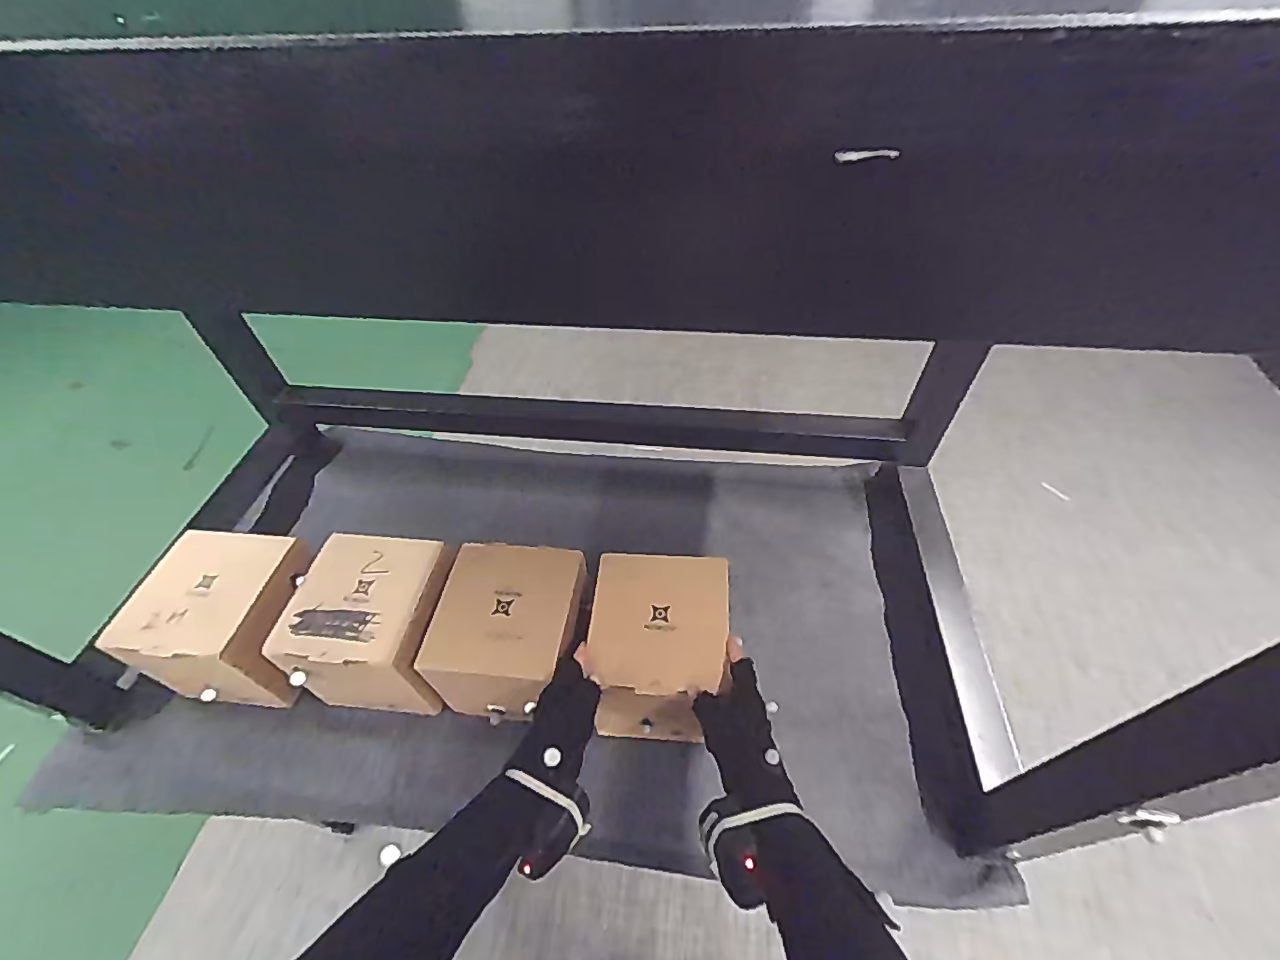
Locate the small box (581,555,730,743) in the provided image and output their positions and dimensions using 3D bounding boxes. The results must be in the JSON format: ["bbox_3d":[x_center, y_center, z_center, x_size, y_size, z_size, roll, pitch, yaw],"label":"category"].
[{"bbox_3d":[0.027,0.218,0.701,0.168,0.176,0.179,1,49,6],"label":"small box"}]

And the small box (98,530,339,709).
[{"bbox_3d":[-0.553,0.193,0.748,0.168,0.176,0.179,3,49,6],"label":"small box"}]
